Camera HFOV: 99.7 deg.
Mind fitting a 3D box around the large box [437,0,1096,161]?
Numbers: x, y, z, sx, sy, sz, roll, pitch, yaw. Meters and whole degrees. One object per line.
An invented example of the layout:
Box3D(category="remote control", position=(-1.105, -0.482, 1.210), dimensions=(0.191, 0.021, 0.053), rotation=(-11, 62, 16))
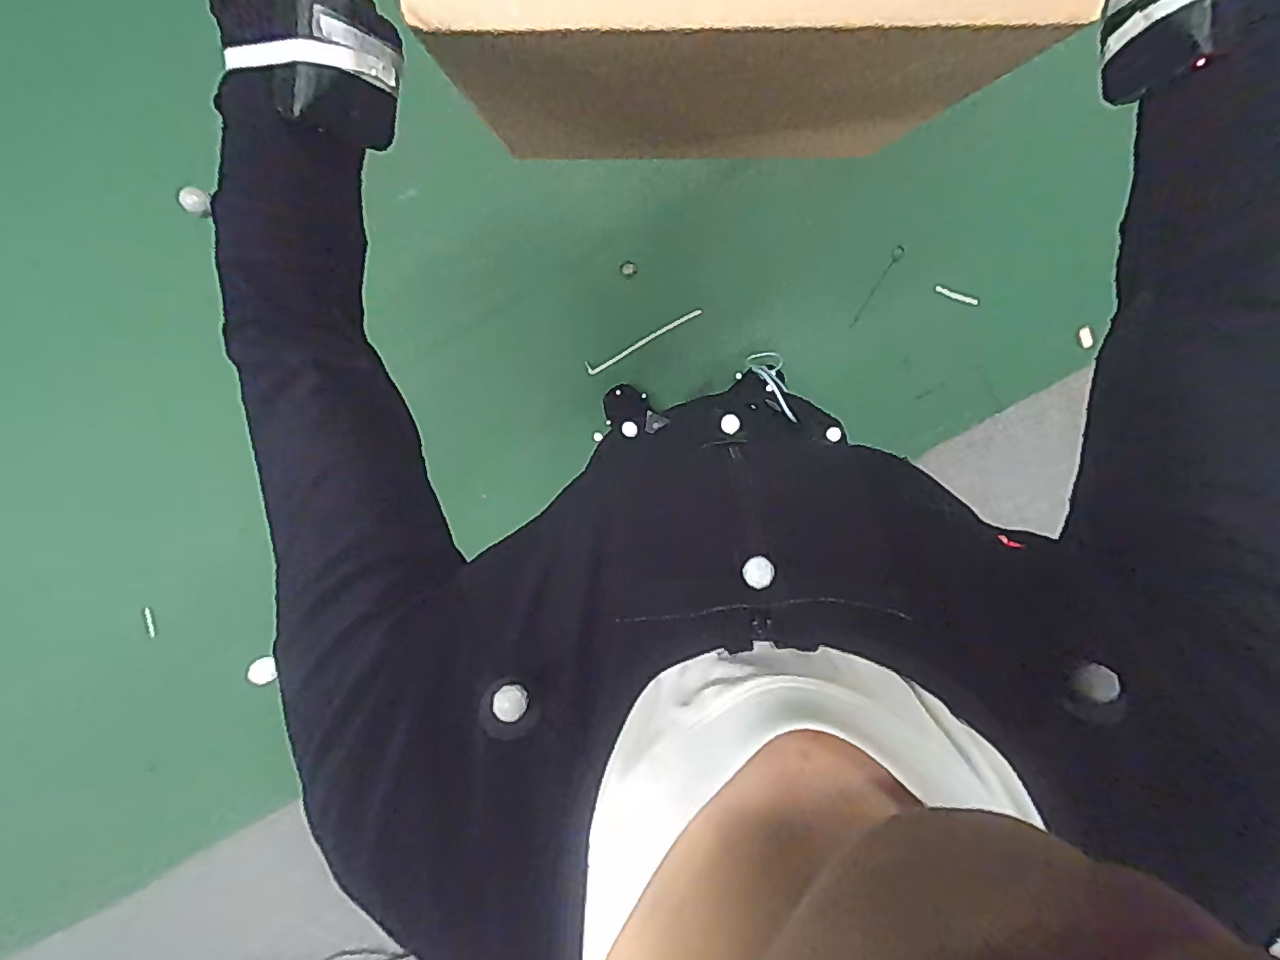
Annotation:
Box3D(category="large box", position=(0.067, -0.462, 0.418), dimensions=(0.408, 0.320, 0.320), rotation=(-1, 108, -2))
